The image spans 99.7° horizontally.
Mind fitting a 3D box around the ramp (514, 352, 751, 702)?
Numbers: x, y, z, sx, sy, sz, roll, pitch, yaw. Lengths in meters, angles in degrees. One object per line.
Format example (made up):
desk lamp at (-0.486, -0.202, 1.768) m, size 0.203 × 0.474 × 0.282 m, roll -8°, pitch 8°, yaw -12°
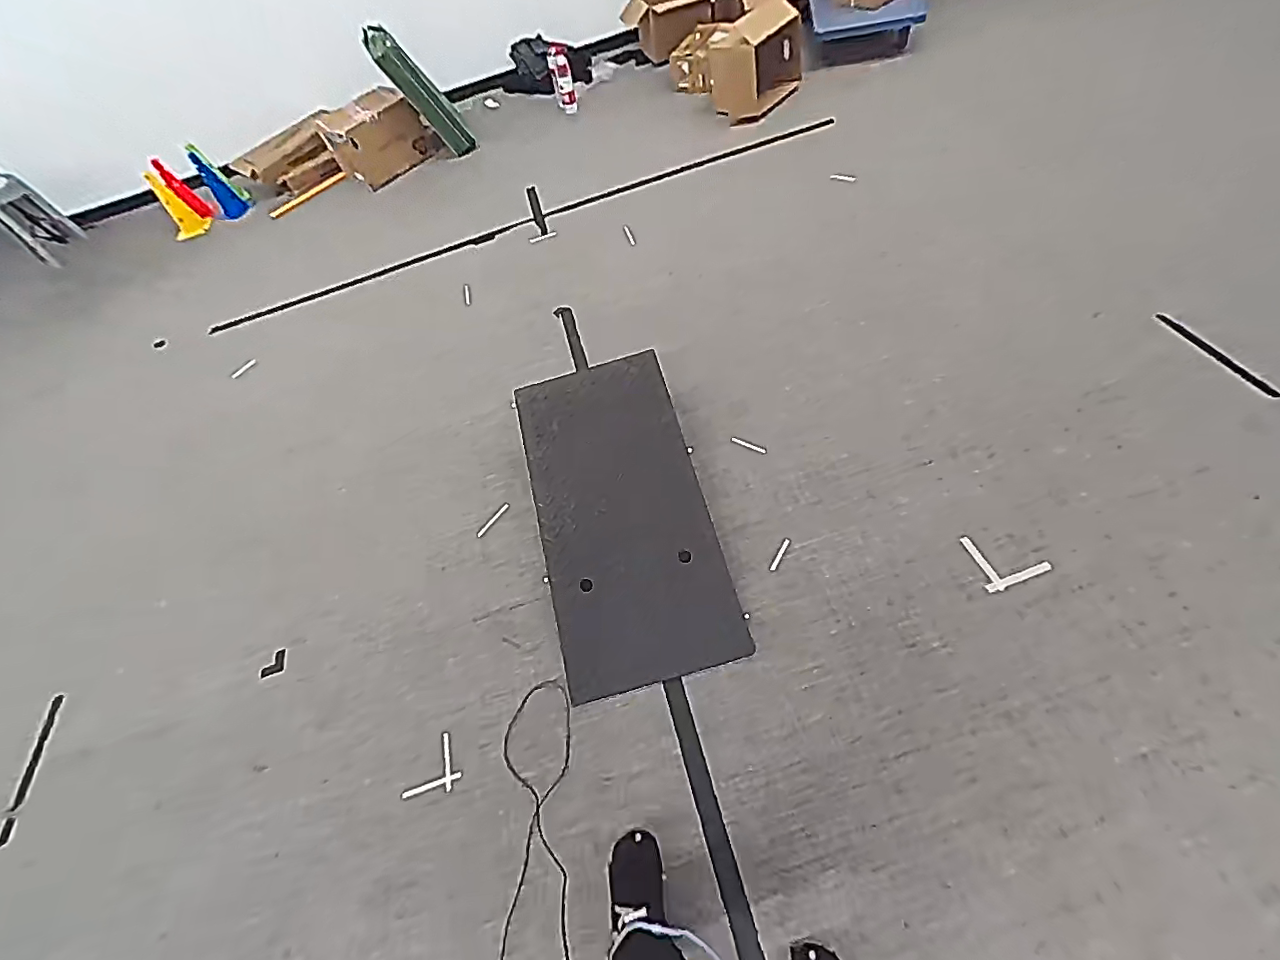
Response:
ramp at (-0.063, 0.075, 1.597) m, size 0.509 × 0.206 × 0.991 m, roll -17°, pitch 55°, yaw -1°
